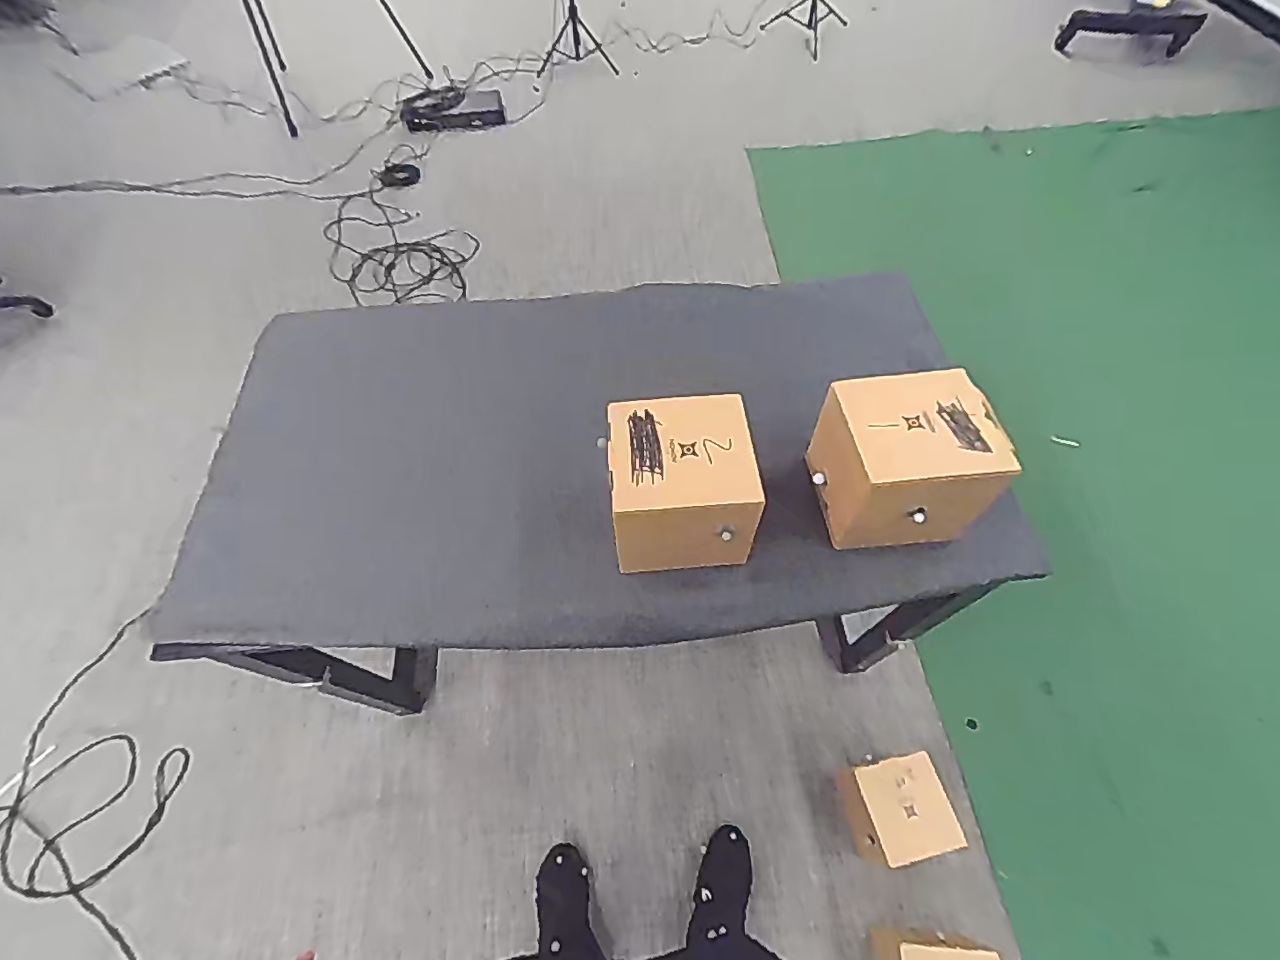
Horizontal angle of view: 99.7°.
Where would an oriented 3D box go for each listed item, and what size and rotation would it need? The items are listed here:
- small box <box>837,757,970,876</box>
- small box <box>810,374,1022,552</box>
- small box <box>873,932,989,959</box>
[{"bbox_3d":[0.541,0.700,1.139,0.168,0.176,0.179,-12,60,-5],"label":"small box"},{"bbox_3d":[0.345,-0.017,0.718,0.179,0.176,0.168,-5,55,1],"label":"small box"},{"bbox_3d":[0.552,0.955,0.988,0.179,0.176,0.168,3,61,4],"label":"small box"}]
